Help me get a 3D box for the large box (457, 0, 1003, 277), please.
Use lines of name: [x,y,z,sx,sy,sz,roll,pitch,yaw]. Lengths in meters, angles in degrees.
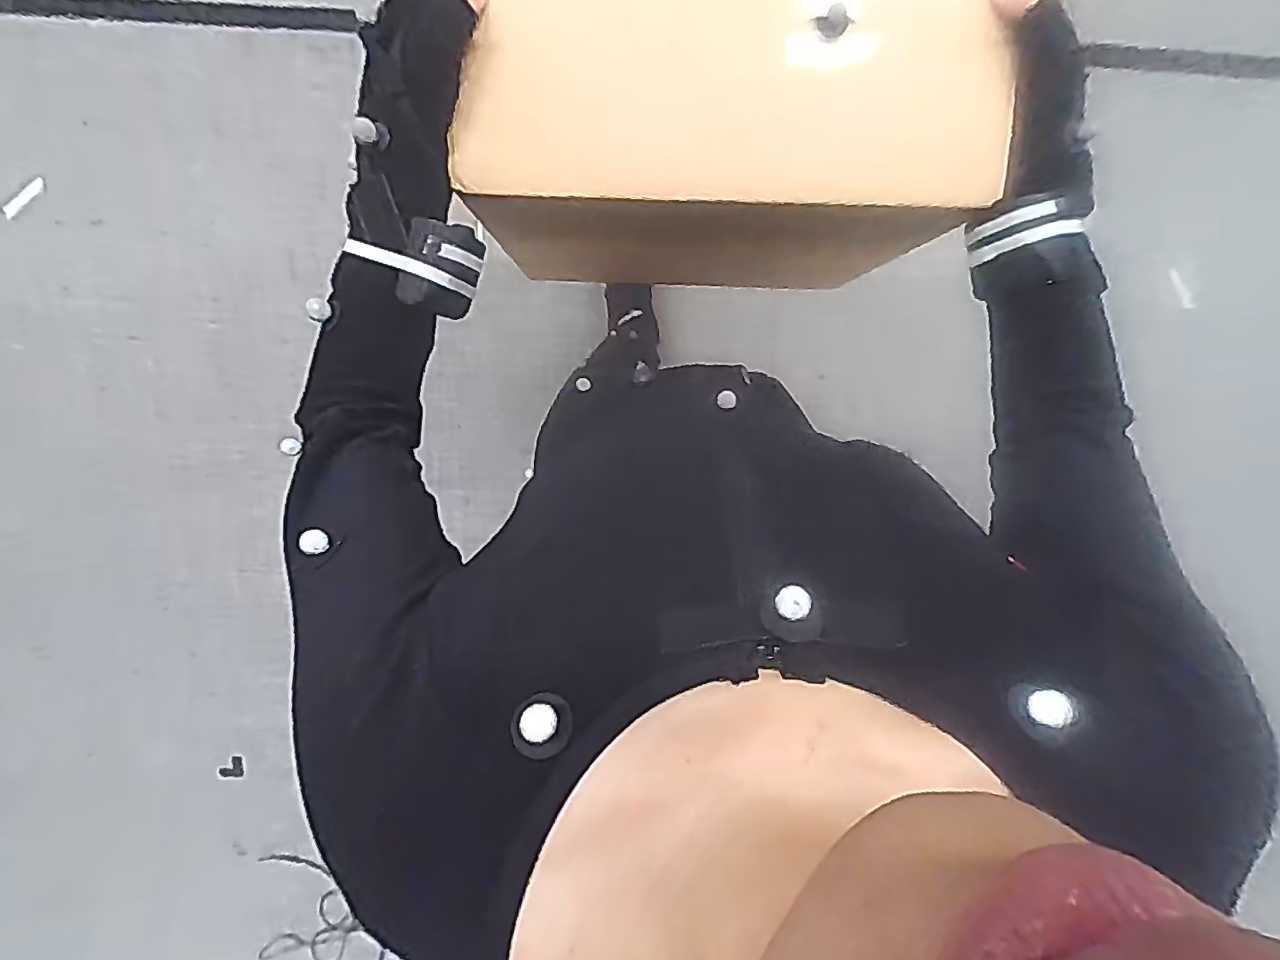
large box: [0.061,-0.394,0.532,0.408,0.320,0.320,1,99,-2]
